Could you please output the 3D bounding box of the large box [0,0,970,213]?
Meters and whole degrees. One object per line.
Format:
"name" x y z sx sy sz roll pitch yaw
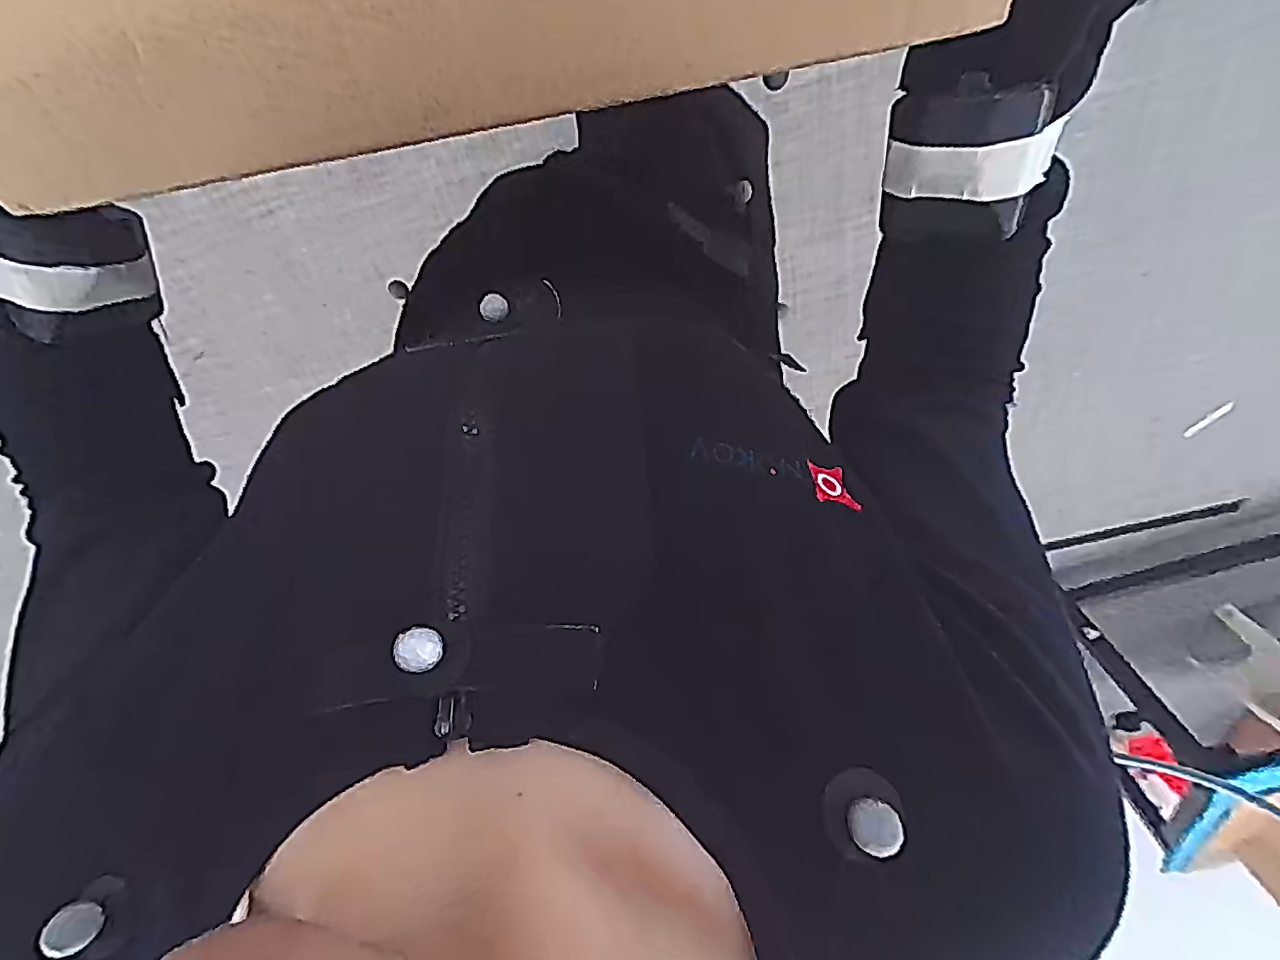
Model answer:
"large box" -0.095 -0.358 0.219 0.408 0.320 0.320 -8 135 4
